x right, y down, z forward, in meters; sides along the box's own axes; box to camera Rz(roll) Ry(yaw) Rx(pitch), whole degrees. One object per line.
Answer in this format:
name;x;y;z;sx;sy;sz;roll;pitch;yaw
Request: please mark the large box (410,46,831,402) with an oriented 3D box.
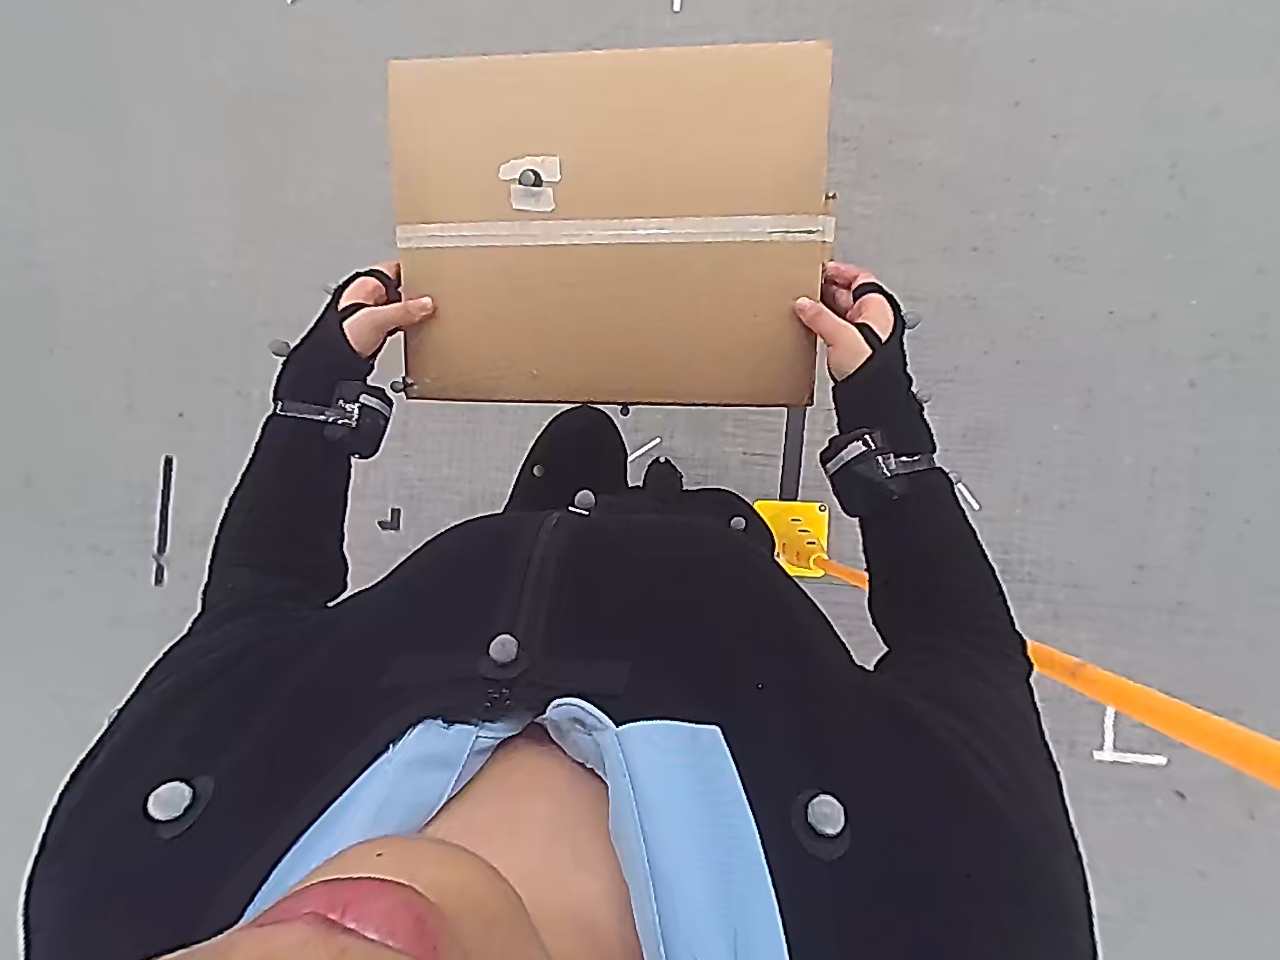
large box;-0.008;-0.255;0.664;0.408;0.320;0.320;2;97;7
